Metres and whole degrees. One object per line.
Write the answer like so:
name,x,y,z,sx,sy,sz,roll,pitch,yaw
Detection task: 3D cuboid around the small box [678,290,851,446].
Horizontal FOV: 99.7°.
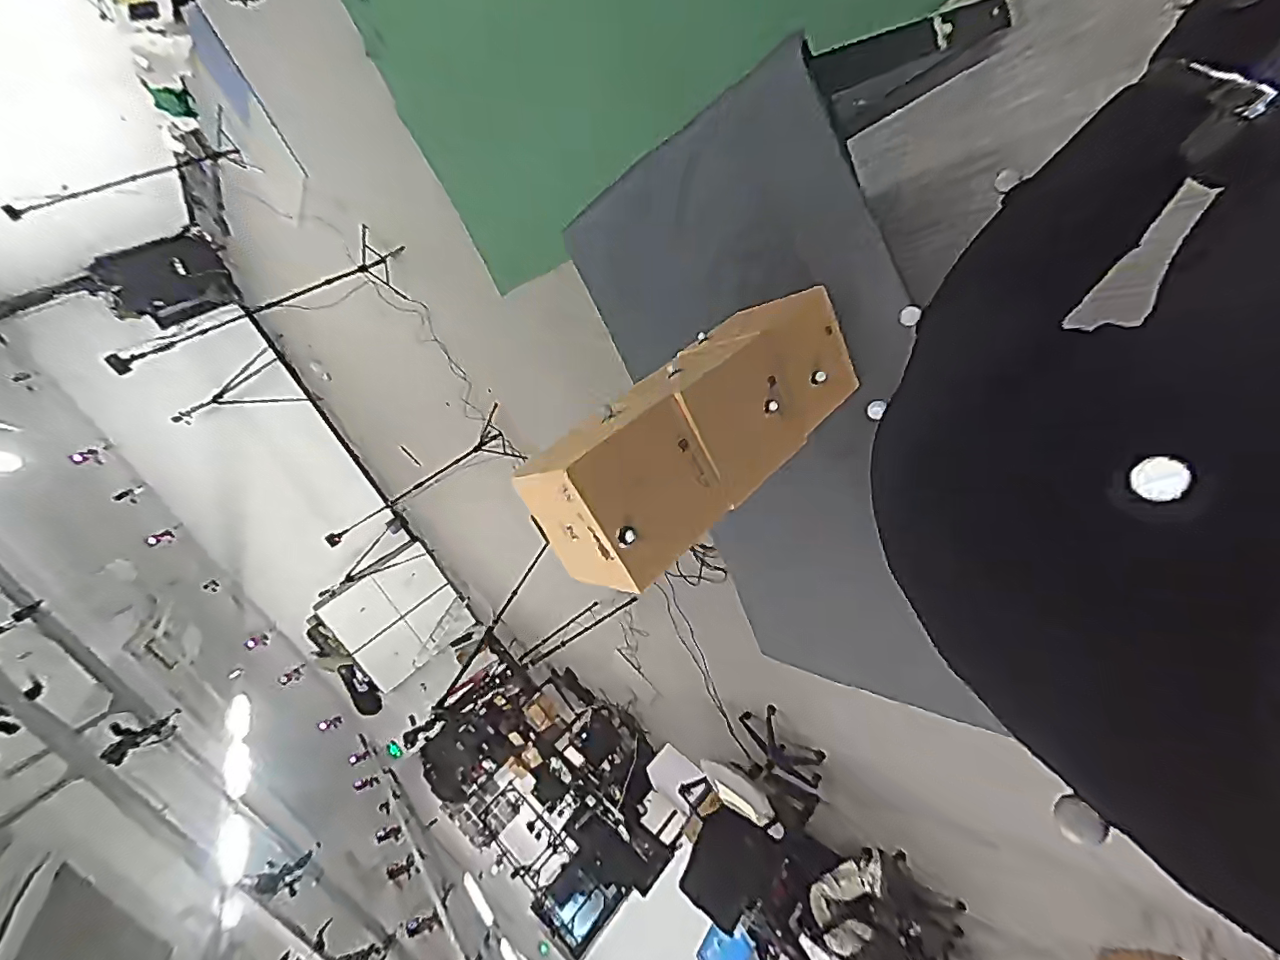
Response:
small box,0.197,-0.167,0.827,0.179,0.176,0.168,1,125,55

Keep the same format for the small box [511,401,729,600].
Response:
small box,-0.024,0.020,0.671,0.179,0.176,0.168,-3,122,57
